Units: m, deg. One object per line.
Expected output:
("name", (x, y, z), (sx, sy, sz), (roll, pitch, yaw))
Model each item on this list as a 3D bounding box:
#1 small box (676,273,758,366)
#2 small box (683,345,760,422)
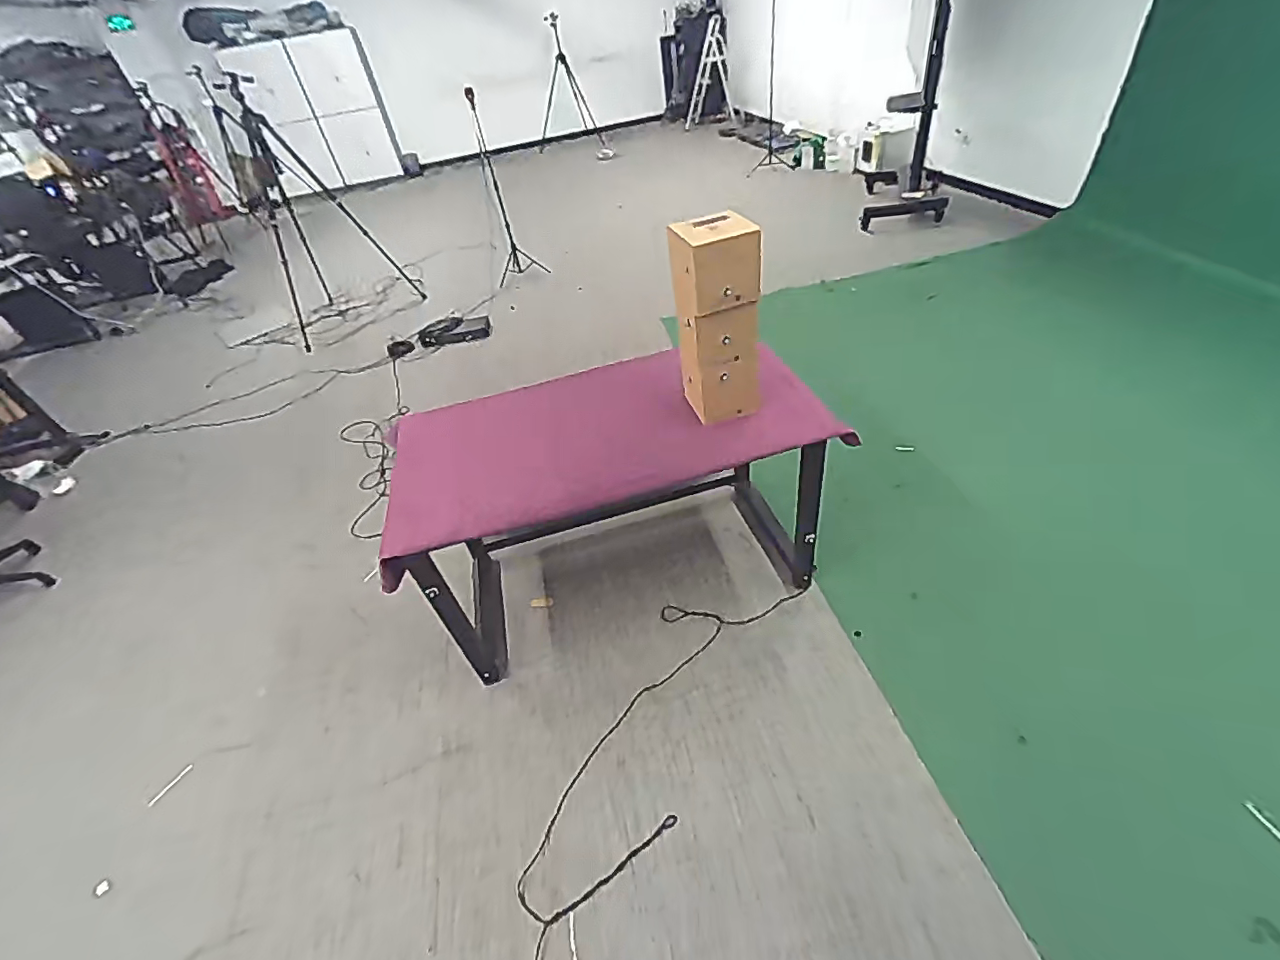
("small box", (0.203, -0.413, 1.411), (0.168, 0.176, 0.179), (-15, 41, -5))
("small box", (0.228, -0.290, 1.518), (0.168, 0.176, 0.179), (-17, 41, -5))
